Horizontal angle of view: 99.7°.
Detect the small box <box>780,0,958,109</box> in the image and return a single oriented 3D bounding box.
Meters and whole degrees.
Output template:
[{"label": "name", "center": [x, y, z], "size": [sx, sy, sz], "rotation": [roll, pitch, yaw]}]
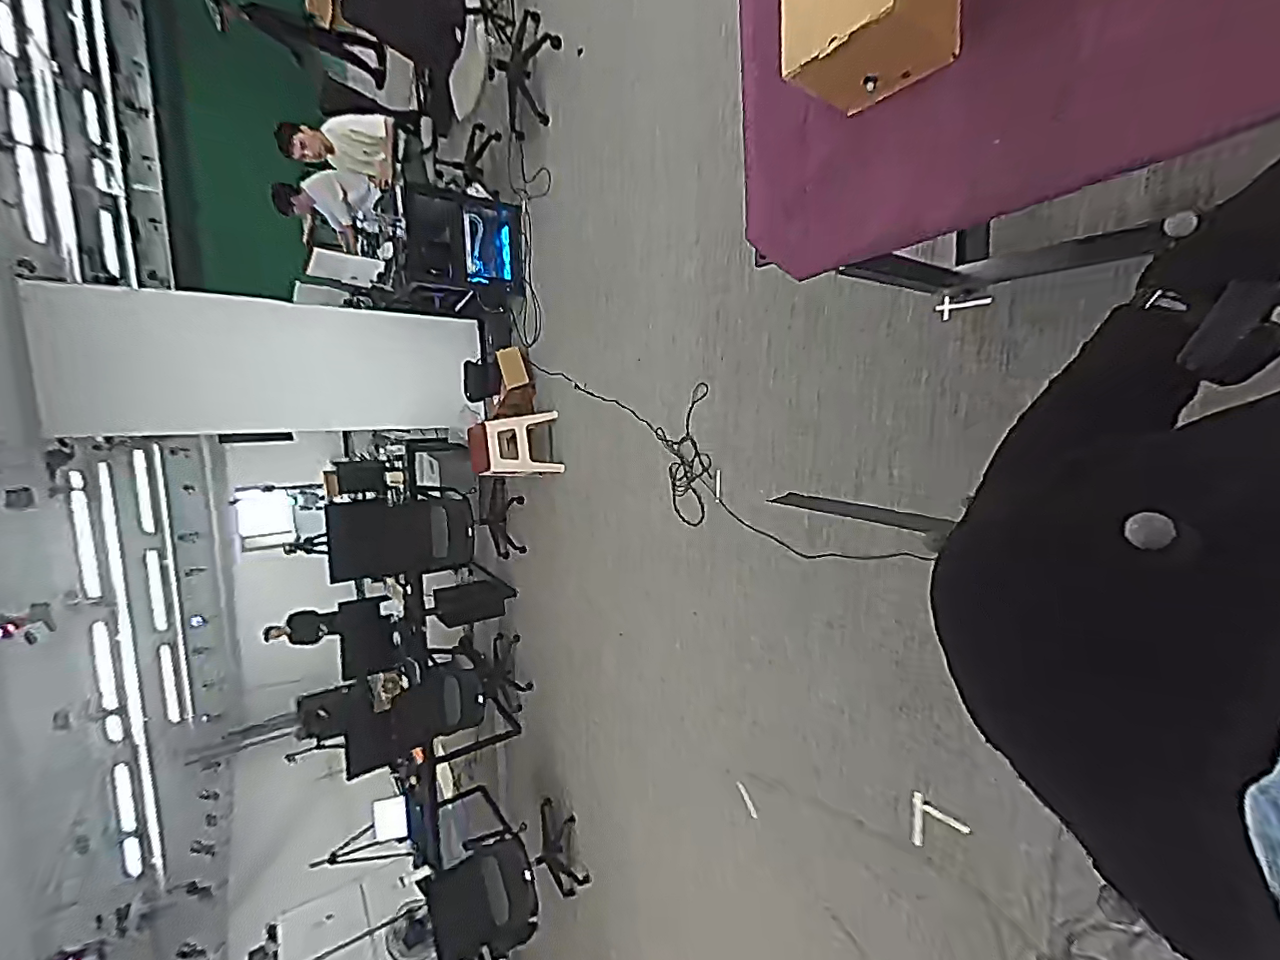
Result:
[{"label": "small box", "center": [0.309, -0.650, 0.731], "size": [0.168, 0.176, 0.179], "rotation": [7, 101, 54]}]
